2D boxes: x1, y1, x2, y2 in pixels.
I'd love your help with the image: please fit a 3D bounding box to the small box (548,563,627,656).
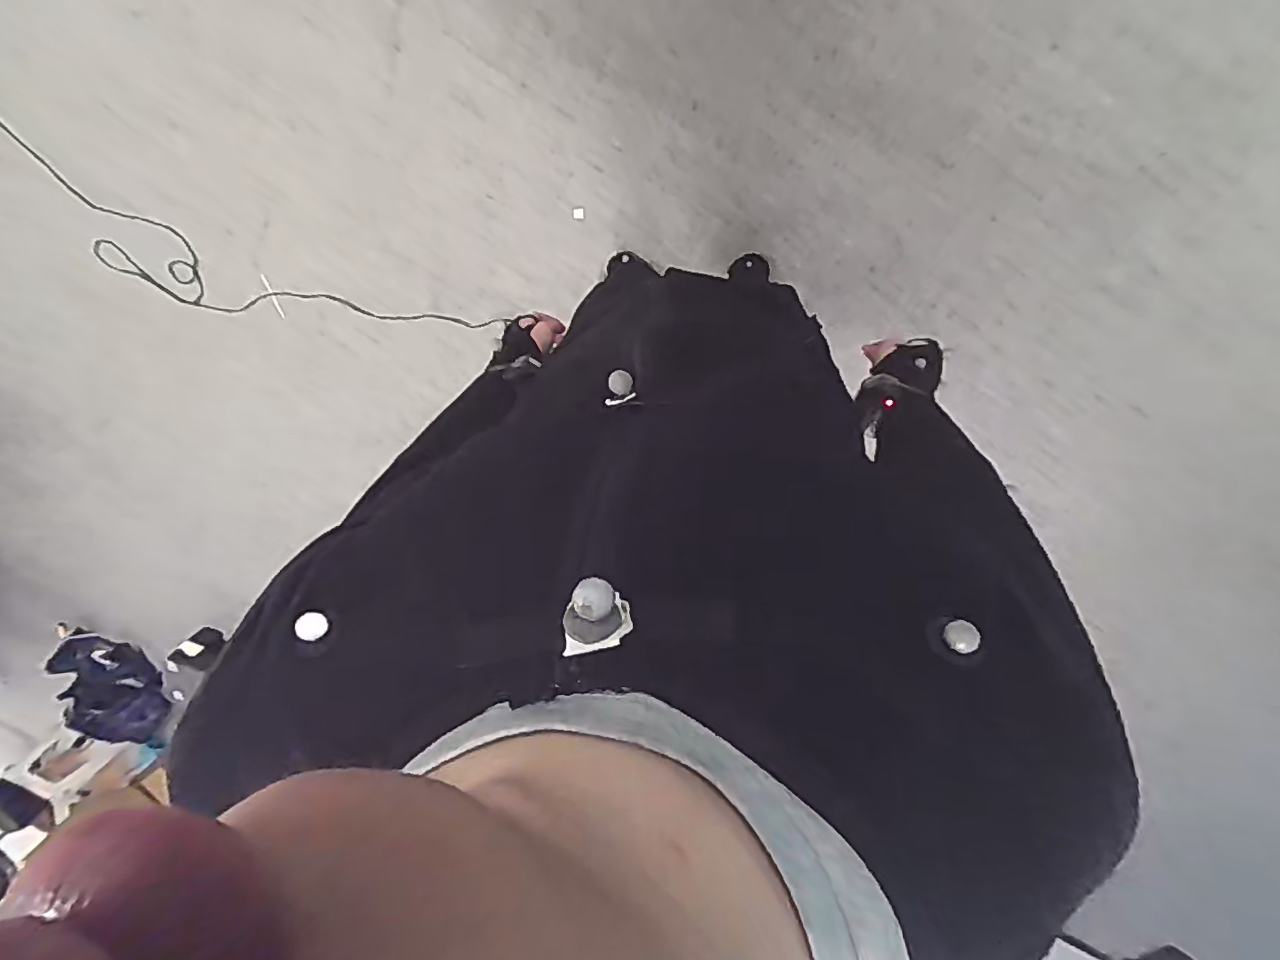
[{"bbox_3d":[-0.154,0.391,1.649,0.168,0.176,0.179,28,119,-3],"label":"small box"}]
